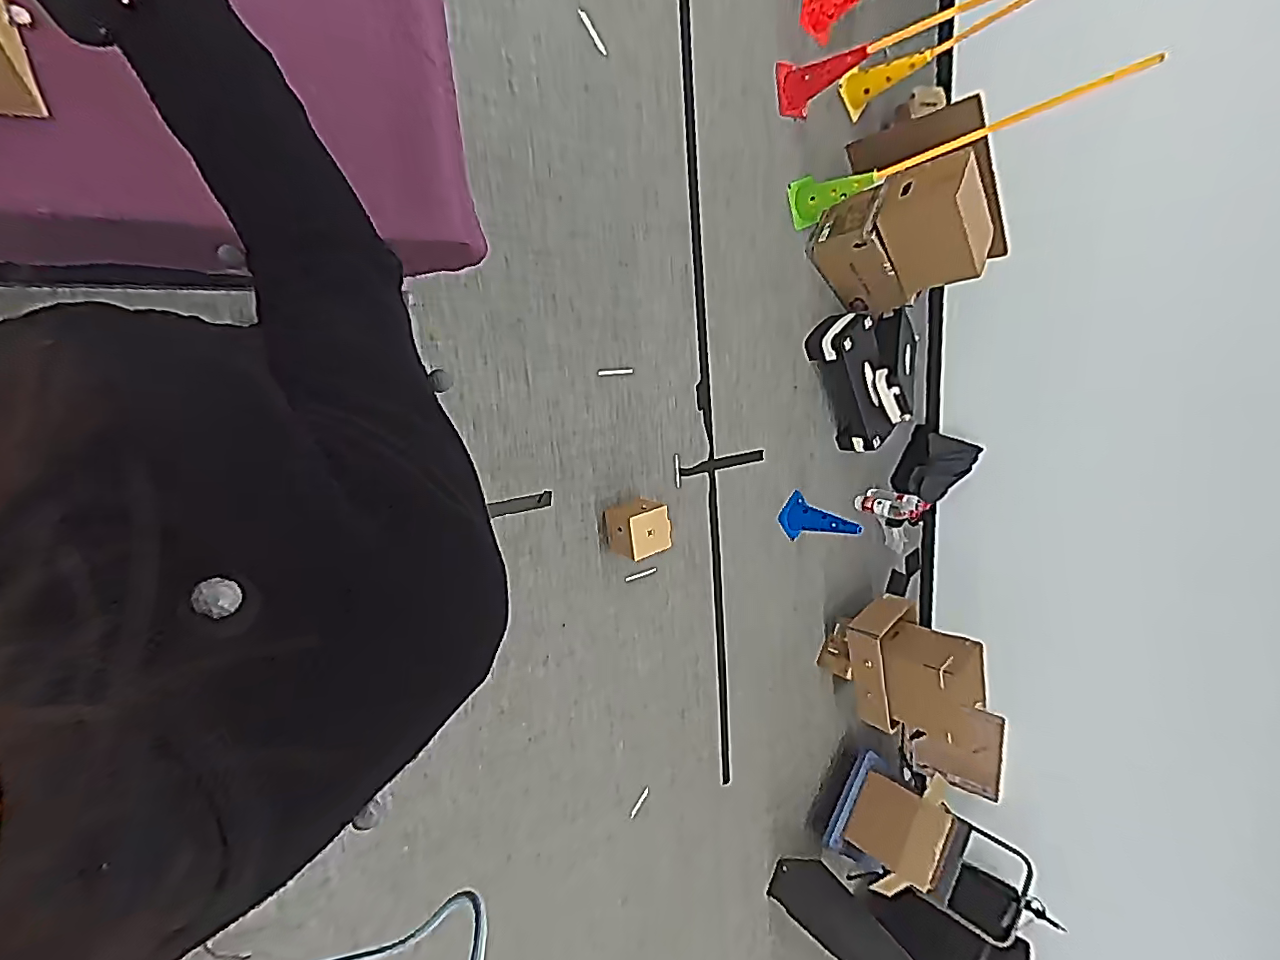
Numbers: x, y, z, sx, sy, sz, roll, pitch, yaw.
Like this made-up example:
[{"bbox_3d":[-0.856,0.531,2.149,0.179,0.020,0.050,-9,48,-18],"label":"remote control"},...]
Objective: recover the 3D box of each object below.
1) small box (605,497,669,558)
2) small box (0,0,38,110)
[{"bbox_3d":[-0.018,0.172,2.008,0.179,0.176,0.168,-17,108,-35],"label":"small box"},{"bbox_3d":[-0.684,-0.448,0.462,0.179,0.176,0.168,-18,108,-35],"label":"small box"}]
